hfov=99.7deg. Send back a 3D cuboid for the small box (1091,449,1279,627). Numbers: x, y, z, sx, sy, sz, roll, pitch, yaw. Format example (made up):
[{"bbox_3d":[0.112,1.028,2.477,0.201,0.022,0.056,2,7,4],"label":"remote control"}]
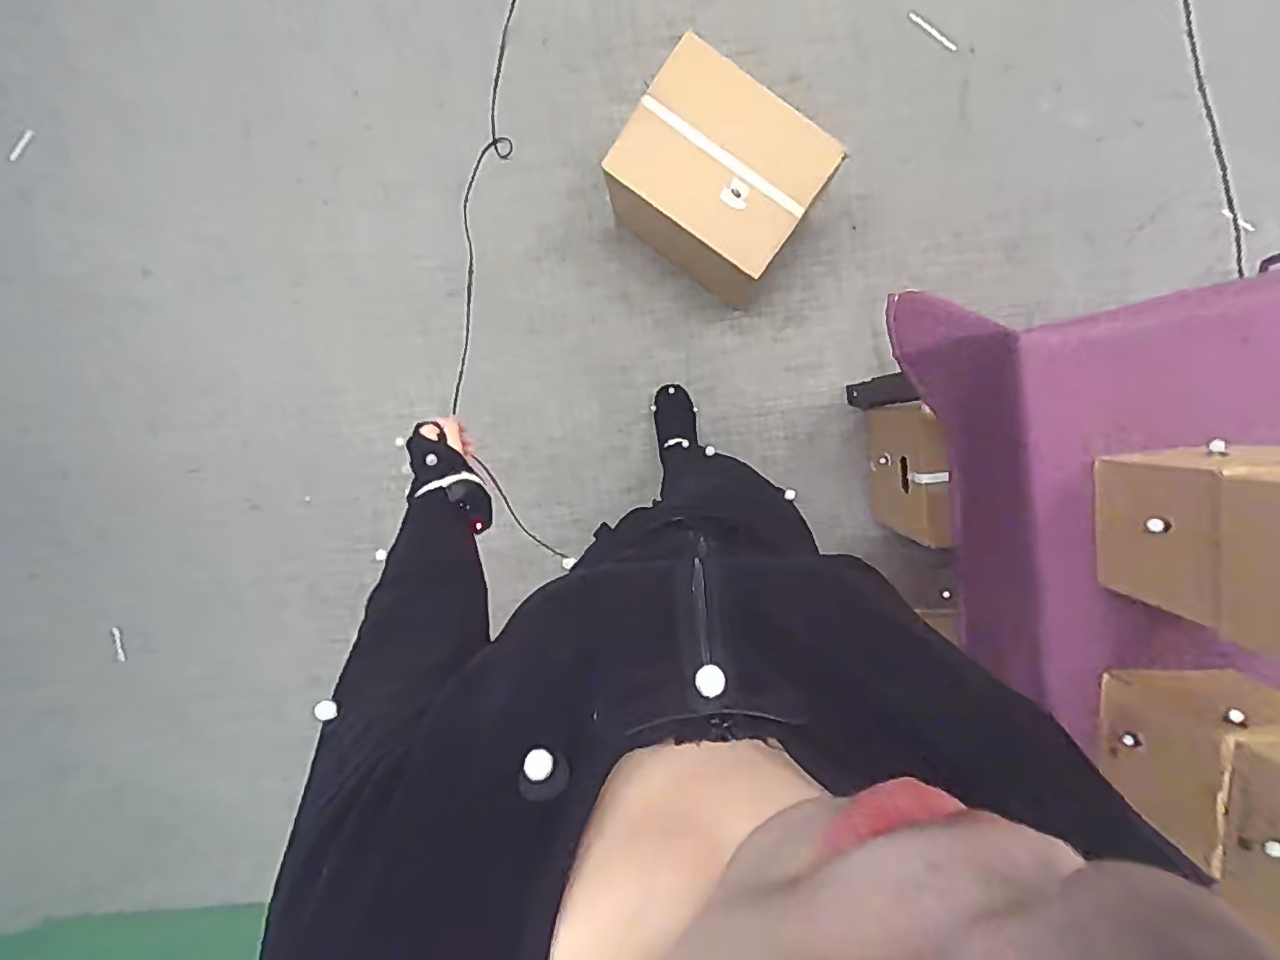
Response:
[{"bbox_3d":[0.679,0.055,0.639,0.168,0.176,0.179,-6,96,4],"label":"small box"}]

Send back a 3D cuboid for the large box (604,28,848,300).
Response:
[{"bbox_3d":[0.175,-0.681,1.240,0.408,0.320,0.320,36,98,-3],"label":"large box"}]

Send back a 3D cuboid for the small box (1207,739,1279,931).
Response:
[{"bbox_3d":[0.717,0.369,0.511,0.179,0.176,0.168,0,96,3],"label":"small box"}]

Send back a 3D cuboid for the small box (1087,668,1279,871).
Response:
[{"bbox_3d":[0.717,0.348,0.675,0.179,0.176,0.168,-1,97,4],"label":"small box"}]
